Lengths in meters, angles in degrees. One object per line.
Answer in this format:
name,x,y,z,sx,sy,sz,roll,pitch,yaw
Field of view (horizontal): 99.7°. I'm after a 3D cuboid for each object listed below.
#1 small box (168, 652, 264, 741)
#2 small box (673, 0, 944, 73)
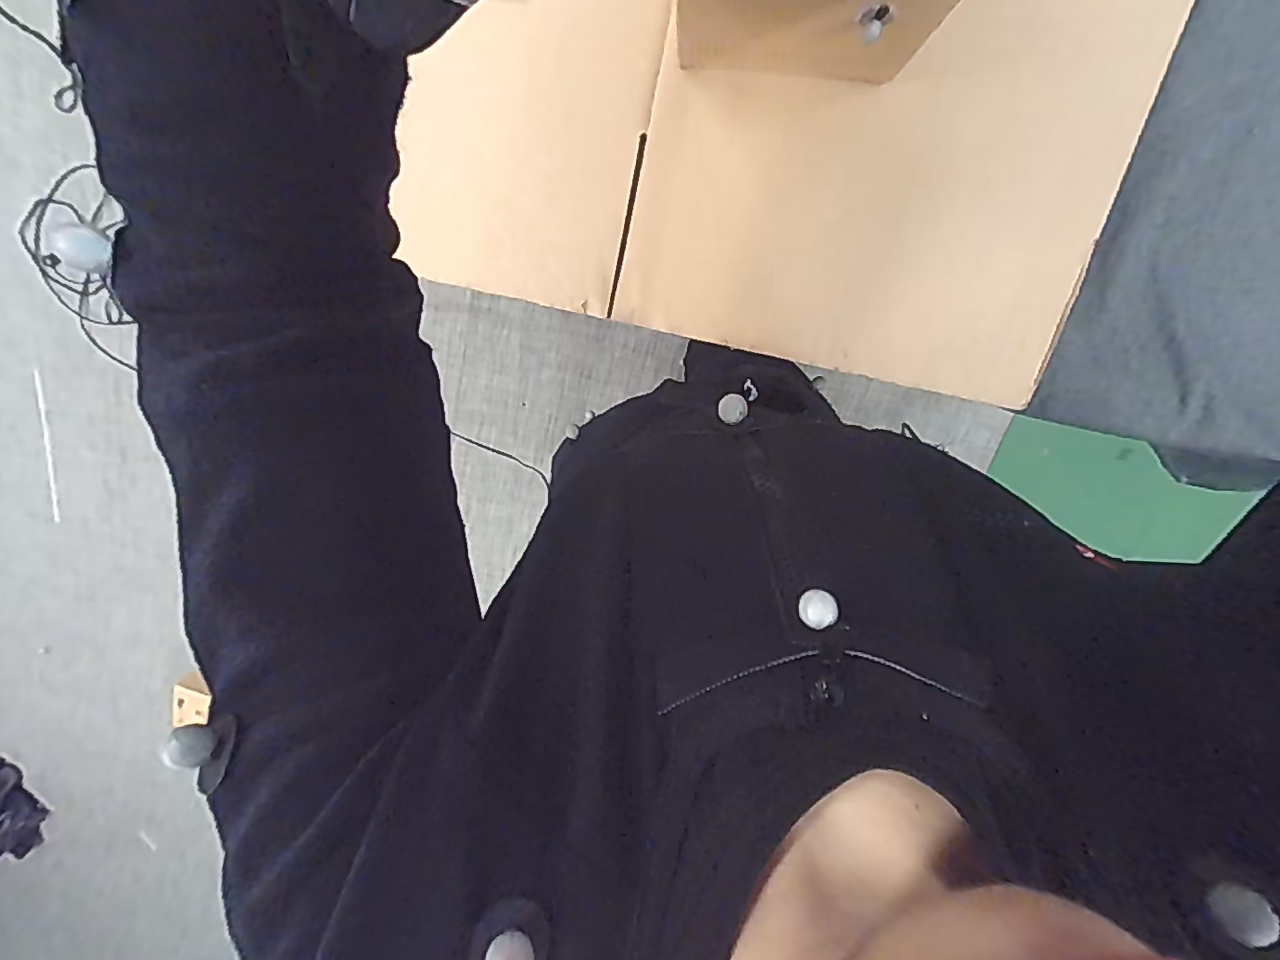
small box,-1.313,0.667,1.684,0.179,0.176,0.168,18,109,-1
small box,0.115,-0.384,0.333,0.179,0.176,0.168,6,105,3
